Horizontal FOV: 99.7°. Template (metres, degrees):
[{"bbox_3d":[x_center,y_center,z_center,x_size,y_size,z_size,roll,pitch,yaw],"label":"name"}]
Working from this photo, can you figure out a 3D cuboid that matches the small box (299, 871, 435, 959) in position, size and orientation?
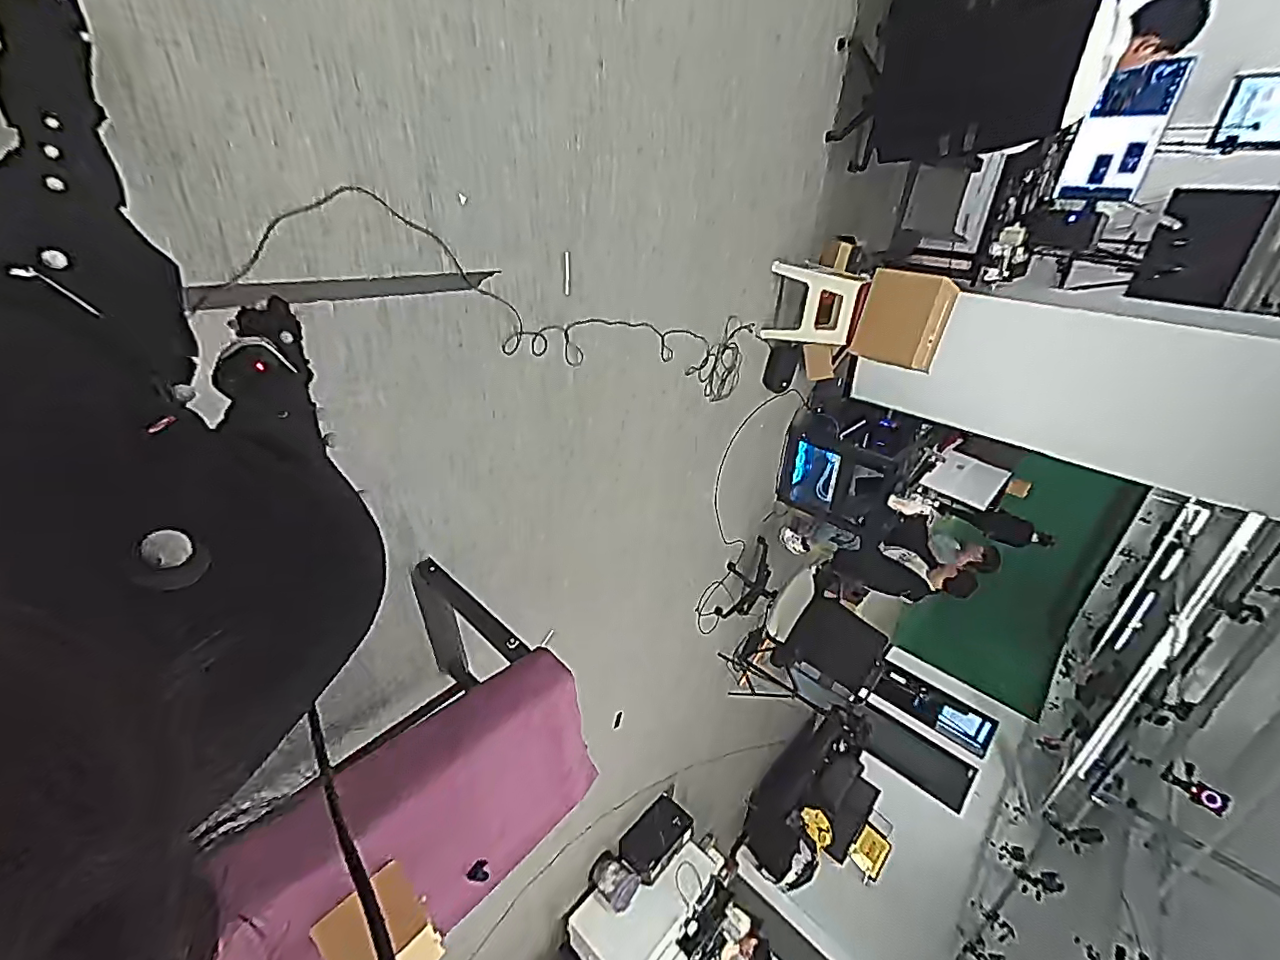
[{"bbox_3d":[-0.553,0.958,1.102,0.179,0.176,0.168,-30,133,-39],"label":"small box"}]
